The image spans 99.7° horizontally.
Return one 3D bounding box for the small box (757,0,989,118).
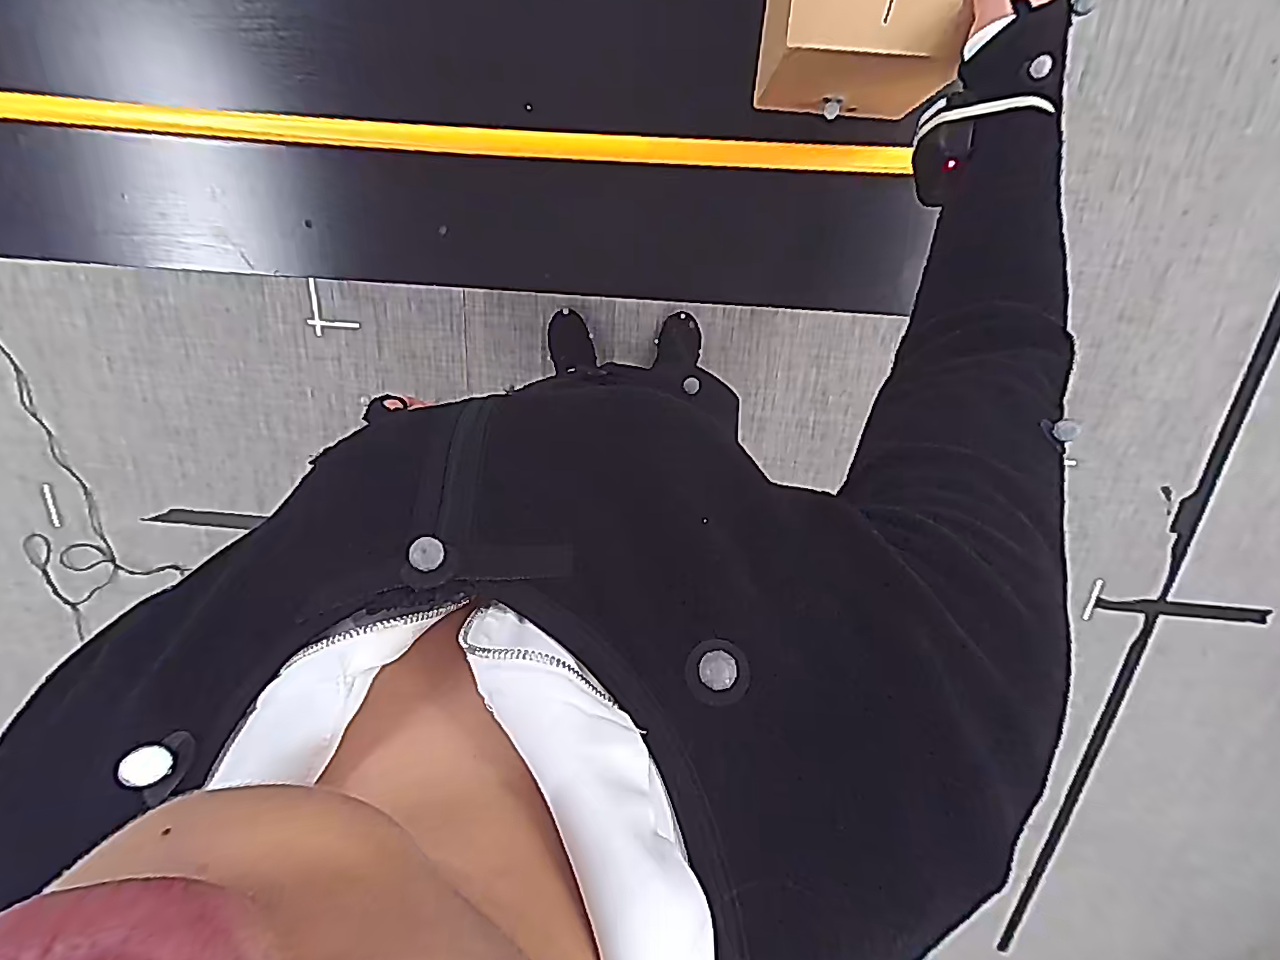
[{"bbox_3d":[0.214,-0.473,0.508,0.168,0.176,0.179,5,110,0],"label":"small box"}]
